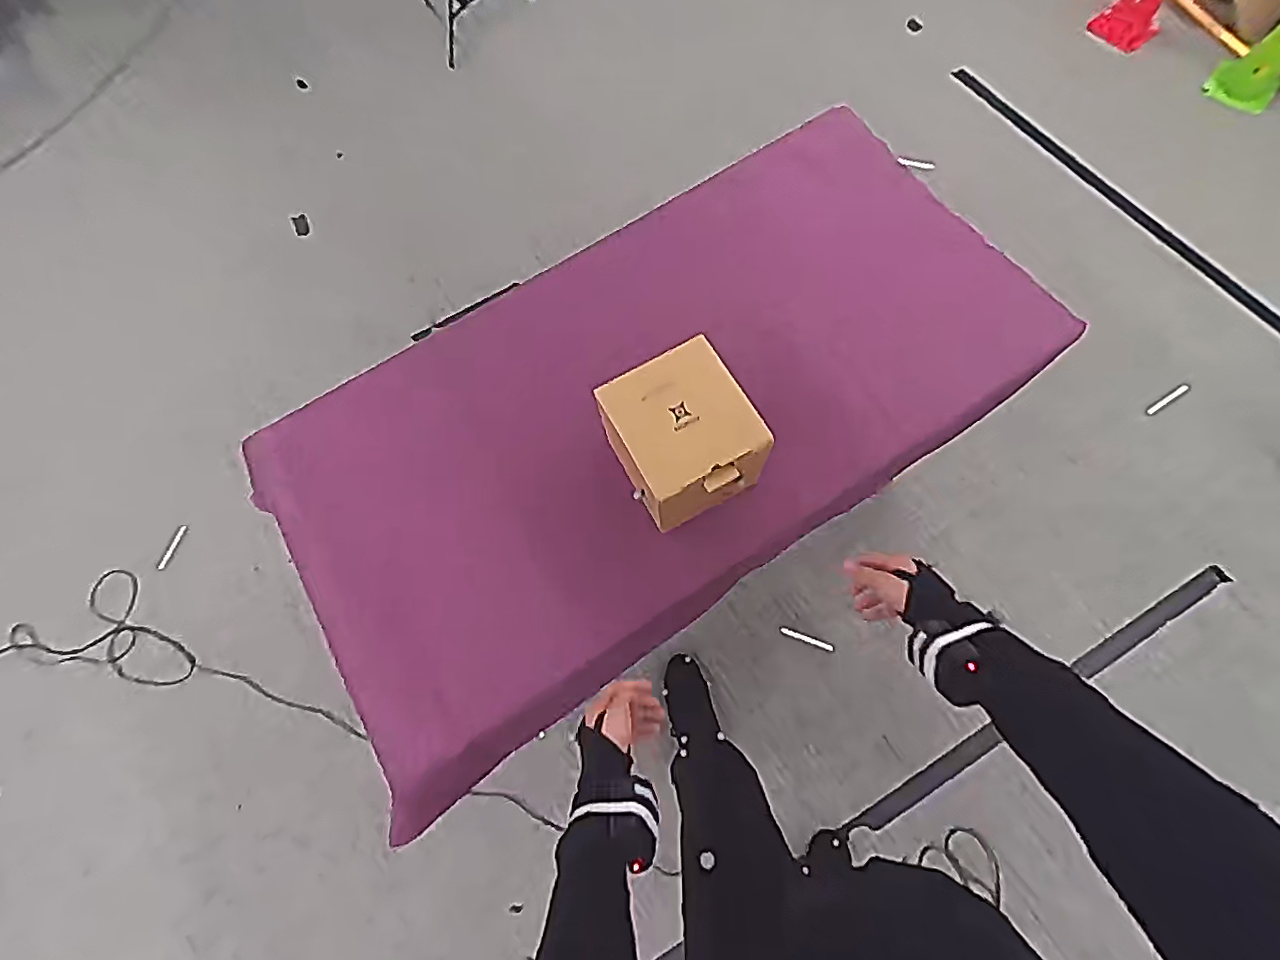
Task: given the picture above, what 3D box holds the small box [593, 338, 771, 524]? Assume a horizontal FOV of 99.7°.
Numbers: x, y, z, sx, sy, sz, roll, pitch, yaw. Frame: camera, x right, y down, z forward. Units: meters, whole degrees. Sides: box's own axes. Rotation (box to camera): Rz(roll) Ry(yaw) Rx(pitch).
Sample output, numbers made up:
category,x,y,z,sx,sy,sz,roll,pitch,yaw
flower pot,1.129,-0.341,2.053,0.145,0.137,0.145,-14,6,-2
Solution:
category,x,y,z,sx,sy,sz,roll,pitch,yaw
small box,0.055,-0.054,0.747,0.168,0.176,0.179,-28,72,-6
